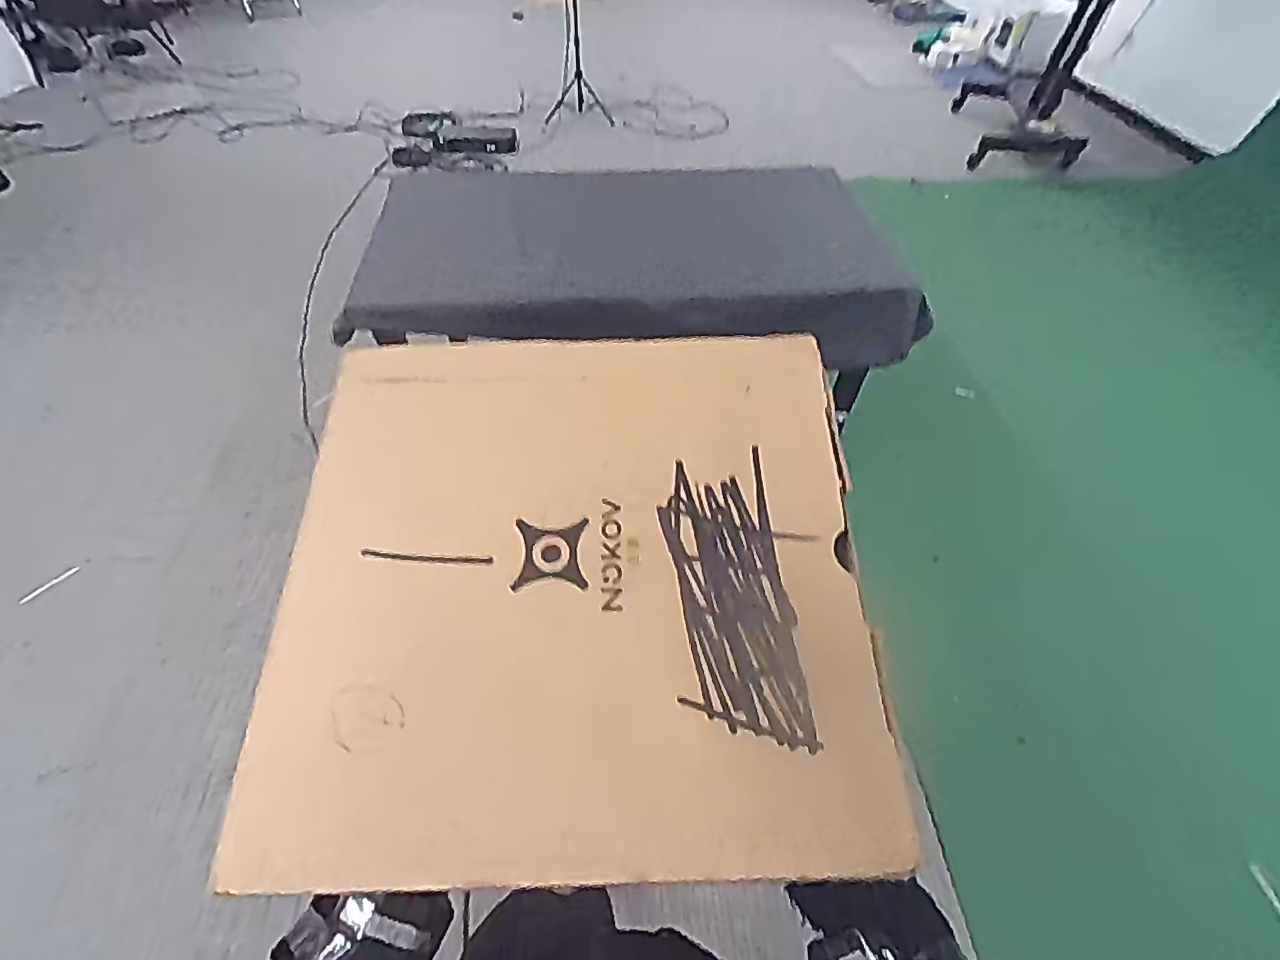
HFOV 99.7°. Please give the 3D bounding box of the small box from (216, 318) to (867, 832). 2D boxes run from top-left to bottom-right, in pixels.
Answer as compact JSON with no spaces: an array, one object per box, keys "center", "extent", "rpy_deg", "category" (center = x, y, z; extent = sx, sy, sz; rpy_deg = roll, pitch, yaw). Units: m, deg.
[{"center":[-0.024,0.050,0.248],"extent":[0.179,0.176,0.168],"rpy_deg":[2,63,0],"category":"small box"}]
